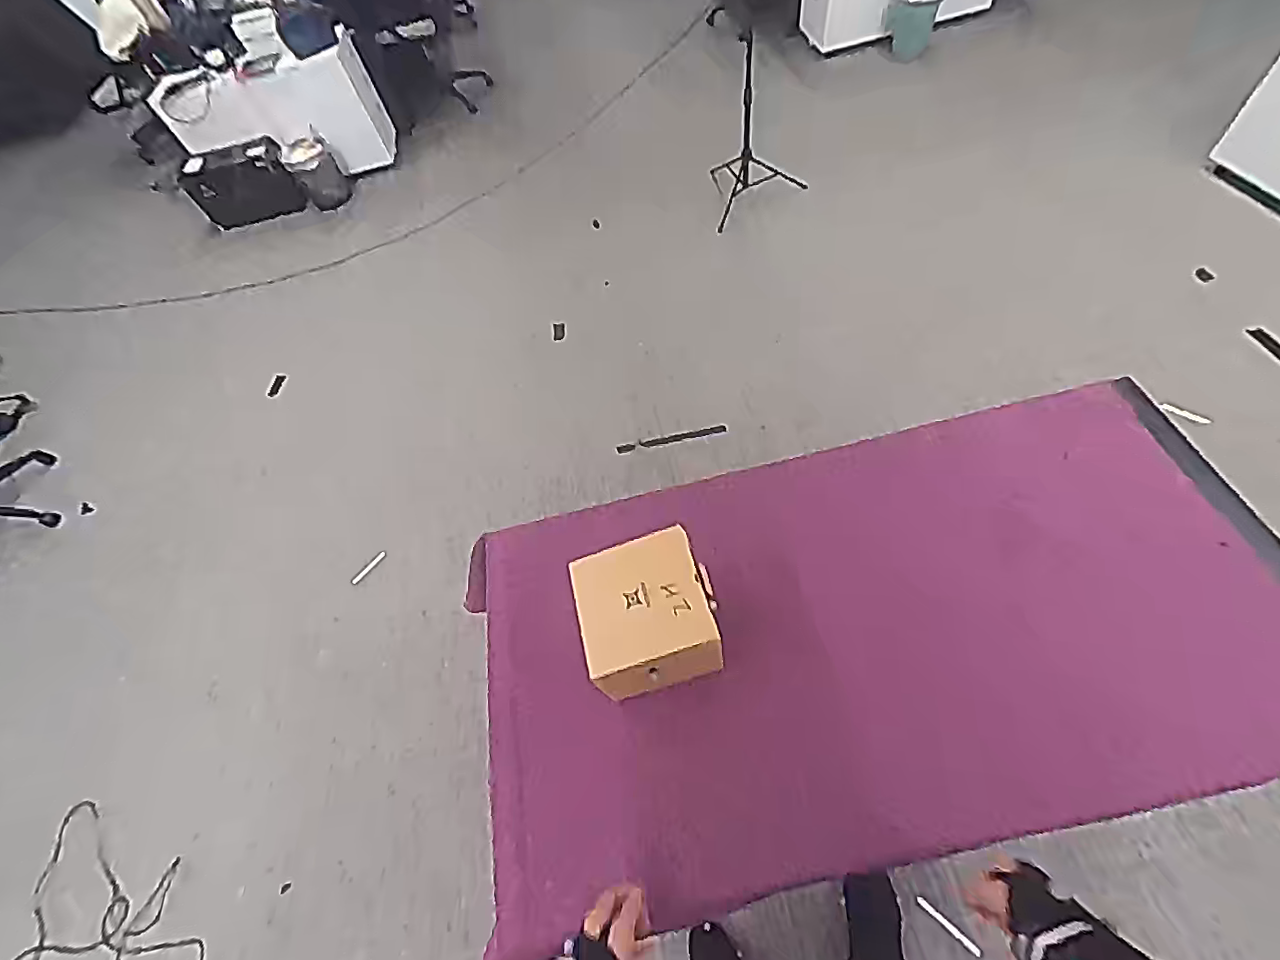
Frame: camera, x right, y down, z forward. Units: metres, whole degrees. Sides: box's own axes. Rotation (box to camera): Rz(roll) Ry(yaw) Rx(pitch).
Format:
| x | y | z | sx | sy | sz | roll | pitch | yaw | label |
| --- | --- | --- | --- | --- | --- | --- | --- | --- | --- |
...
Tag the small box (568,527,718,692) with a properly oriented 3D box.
| x | y | z | sx | sy | sz | roll | pitch | yaw | label |
| --- | --- | --- | --- | --- | --- | --- | --- | --- | --- |
| 0.009 | 0.196 | 0.791 | 0.179 | 0.176 | 0.168 | -16 | 59 | -1 | small box |
